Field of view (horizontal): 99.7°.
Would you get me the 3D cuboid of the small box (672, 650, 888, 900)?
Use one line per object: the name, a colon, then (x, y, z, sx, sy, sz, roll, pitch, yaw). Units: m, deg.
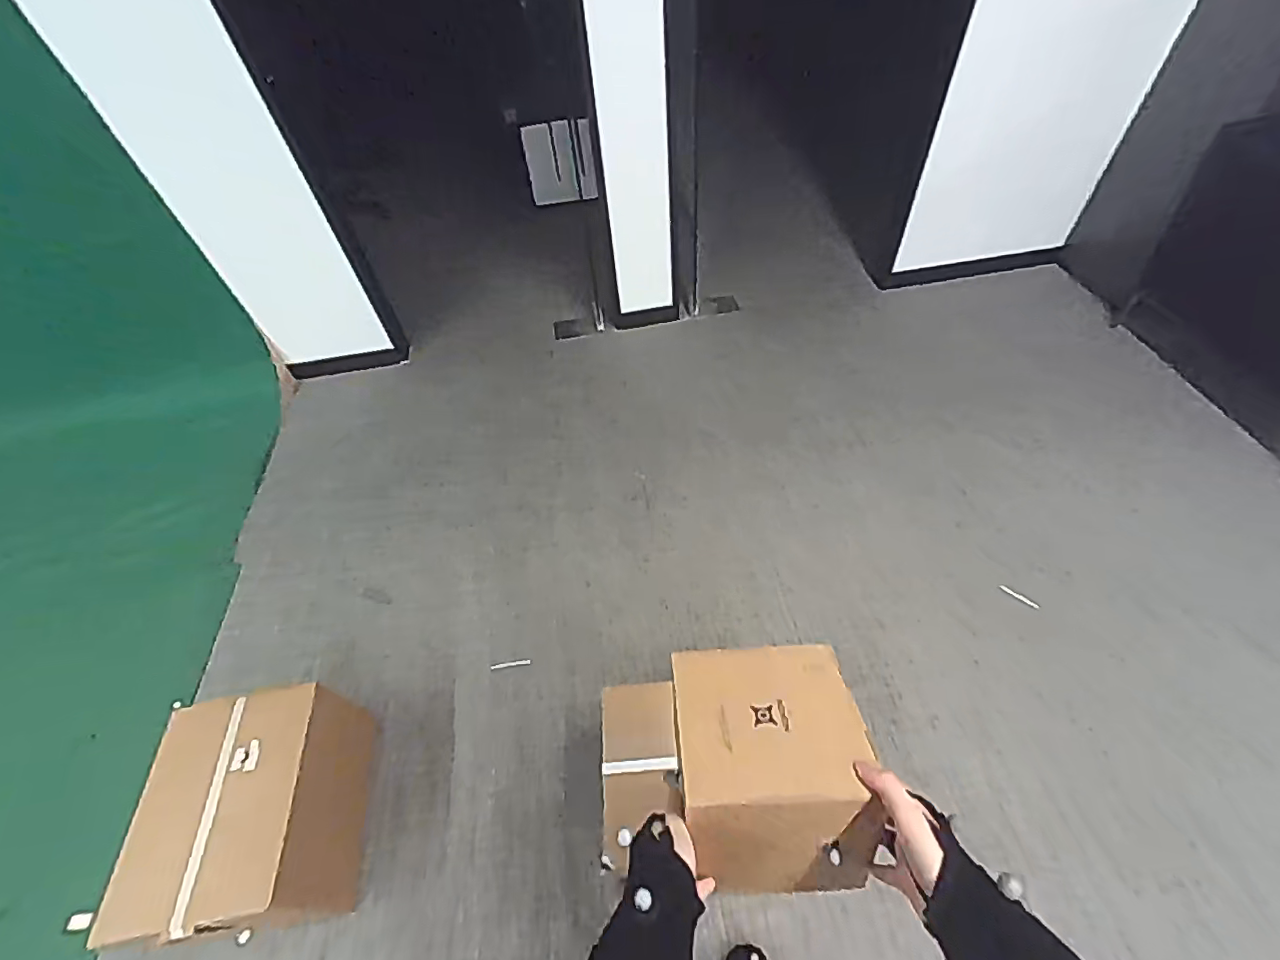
small box: (0.127, 0.302, 0.562, 0.179, 0.176, 0.168, -4, 30, 1)

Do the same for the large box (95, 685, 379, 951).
large box: (-0.806, 0.721, 1.167, 0.320, 0.320, 0.408, -10, 50, -2)
